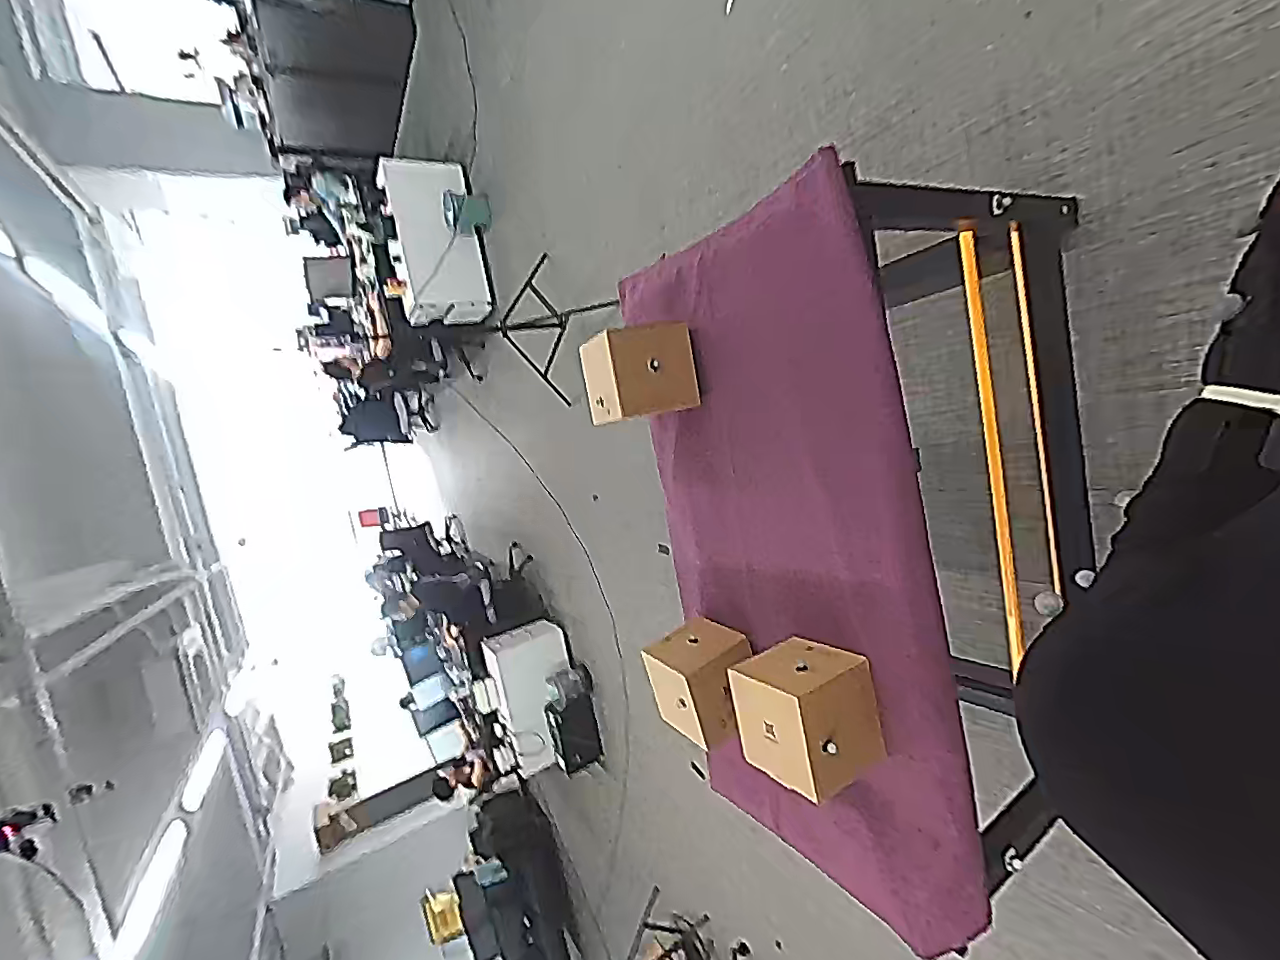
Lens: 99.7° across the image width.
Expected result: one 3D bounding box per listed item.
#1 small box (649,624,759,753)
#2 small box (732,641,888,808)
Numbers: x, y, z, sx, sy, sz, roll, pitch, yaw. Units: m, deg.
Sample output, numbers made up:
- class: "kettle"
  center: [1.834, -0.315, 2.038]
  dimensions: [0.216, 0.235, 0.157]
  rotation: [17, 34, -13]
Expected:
- class: "small box"
  center: [0.141, 0.423, 1.139]
  dimensions: [0.176, 0.168, 0.179]
  rotation: [5, 114, 60]
- class: "small box"
  center: [0.284, 0.391, 0.906]
  dimensions: [0.168, 0.176, 0.179]
  rotation: [-5, 98, 61]
